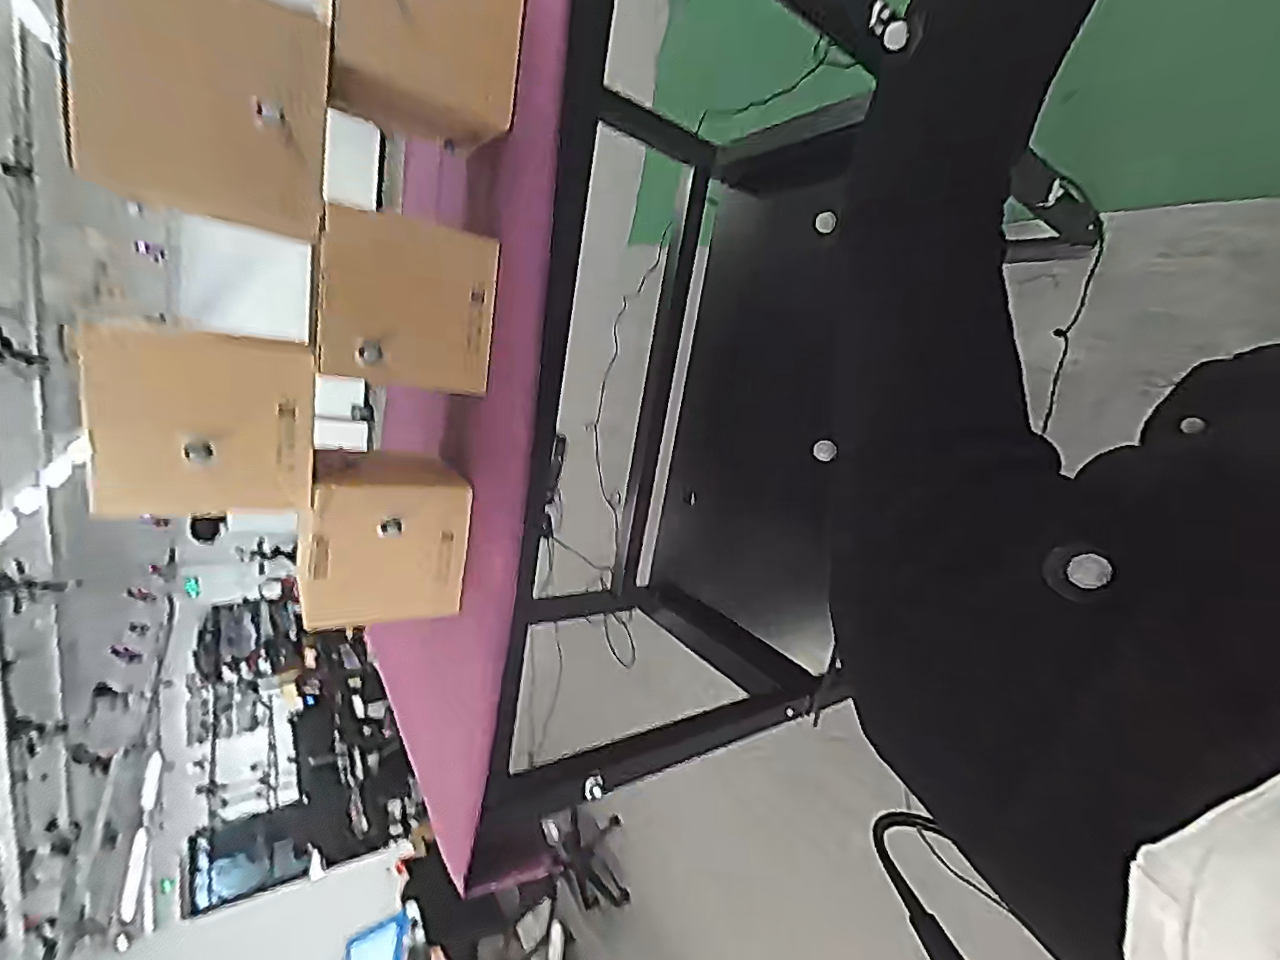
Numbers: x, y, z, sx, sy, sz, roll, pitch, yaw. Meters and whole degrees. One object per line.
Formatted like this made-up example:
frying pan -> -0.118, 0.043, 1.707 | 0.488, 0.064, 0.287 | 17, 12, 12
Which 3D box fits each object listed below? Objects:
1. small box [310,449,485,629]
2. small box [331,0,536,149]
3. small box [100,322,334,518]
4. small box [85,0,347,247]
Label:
small box -> -0.305, 0.061, 0.675 | 0.179, 0.176, 0.168 | 27, 110, 52
small box -> -0.219, -0.474, 0.566 | 0.168, 0.176, 0.179 | 25, 110, 52
small box -> -0.424, -0.068, 0.567 | 0.179, 0.176, 0.168 | 25, 111, 53
small box -> -0.376, -0.333, 0.501 | 0.168, 0.176, 0.179 | 28, 111, 52
